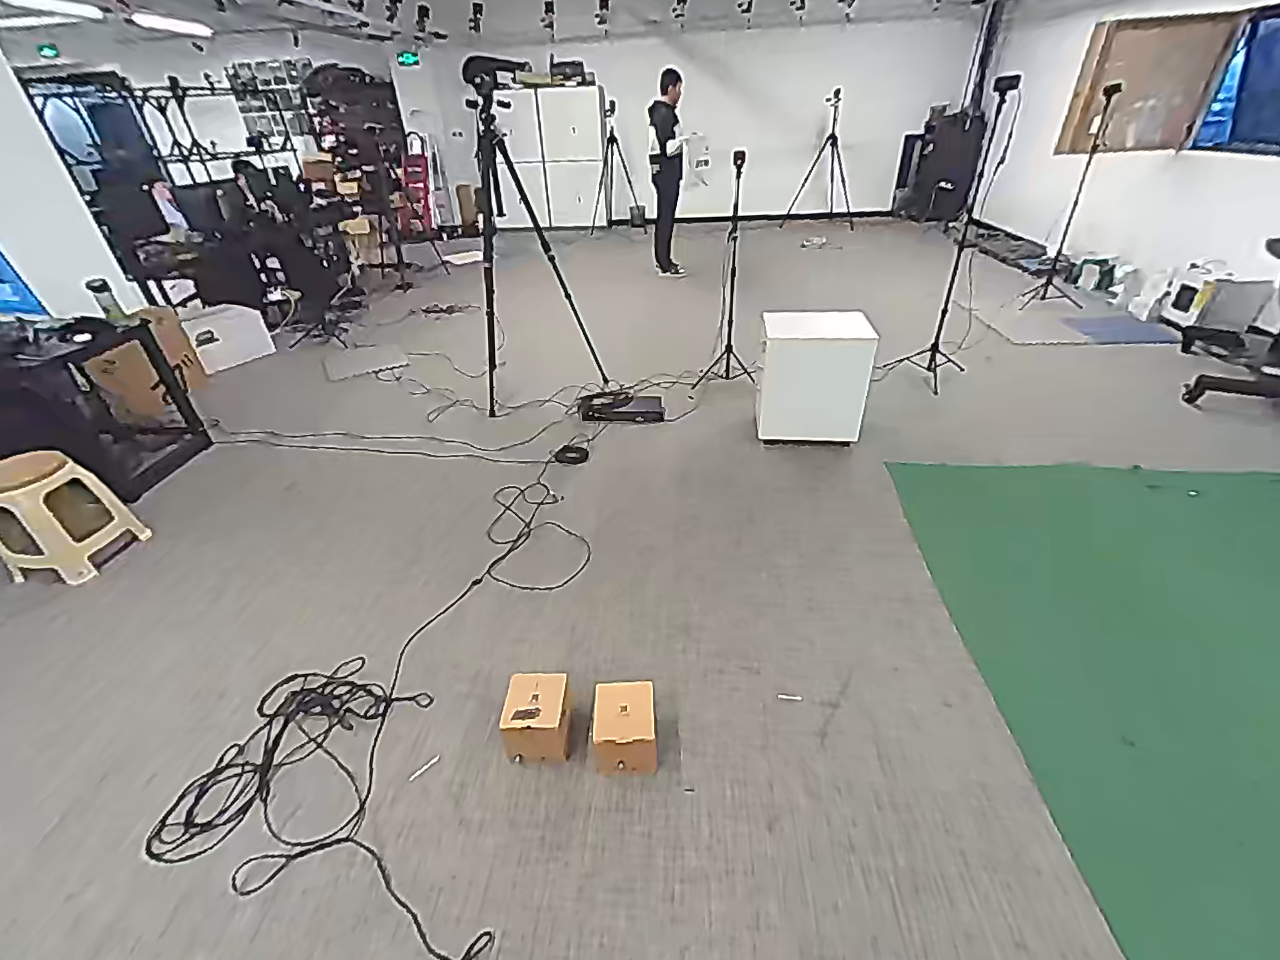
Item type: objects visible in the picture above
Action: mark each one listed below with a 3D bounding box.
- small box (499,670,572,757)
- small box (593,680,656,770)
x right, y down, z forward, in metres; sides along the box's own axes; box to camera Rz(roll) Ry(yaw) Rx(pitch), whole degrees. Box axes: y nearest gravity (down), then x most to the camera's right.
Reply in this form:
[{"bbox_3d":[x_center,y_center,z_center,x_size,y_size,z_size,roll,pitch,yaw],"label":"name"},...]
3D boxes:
[{"bbox_3d":[-0.293,0.676,1.561,0.168,0.176,0.179,-1,34,3],"label":"small box"},{"bbox_3d":[-0.040,0.690,1.525,0.168,0.176,0.179,-3,36,1],"label":"small box"}]
